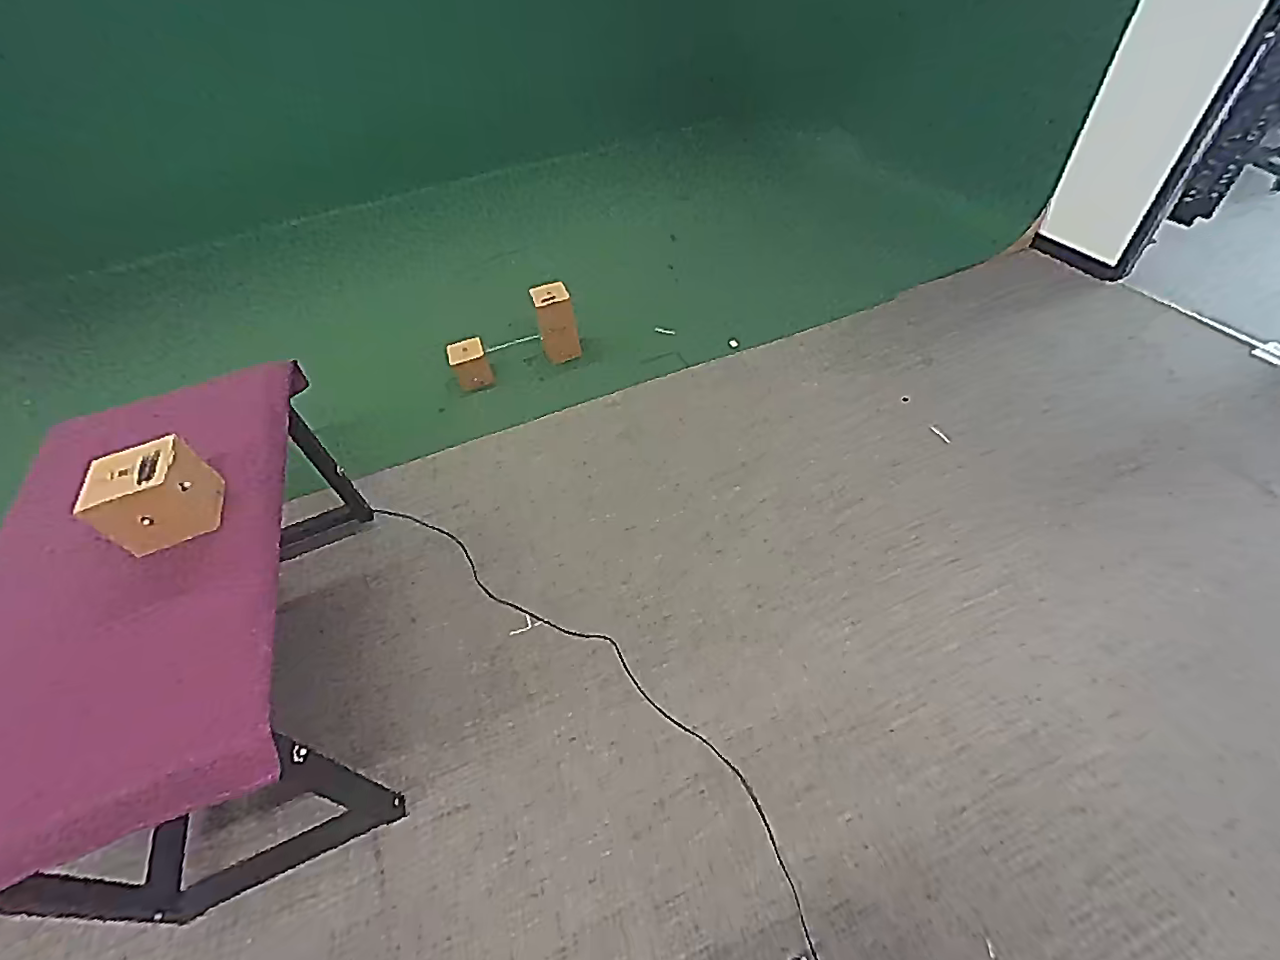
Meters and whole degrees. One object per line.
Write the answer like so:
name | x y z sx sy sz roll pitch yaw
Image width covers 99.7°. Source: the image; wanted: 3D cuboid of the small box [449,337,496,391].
small box | -0.828 -0.572 2.671 0.168 0.176 0.179 -19 49 -9

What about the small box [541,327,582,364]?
small box | -0.401 -0.718 2.747 0.168 0.176 0.179 -18 50 -9

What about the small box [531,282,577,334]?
small box | -0.415 -0.825 2.623 0.168 0.176 0.179 -18 49 -9
